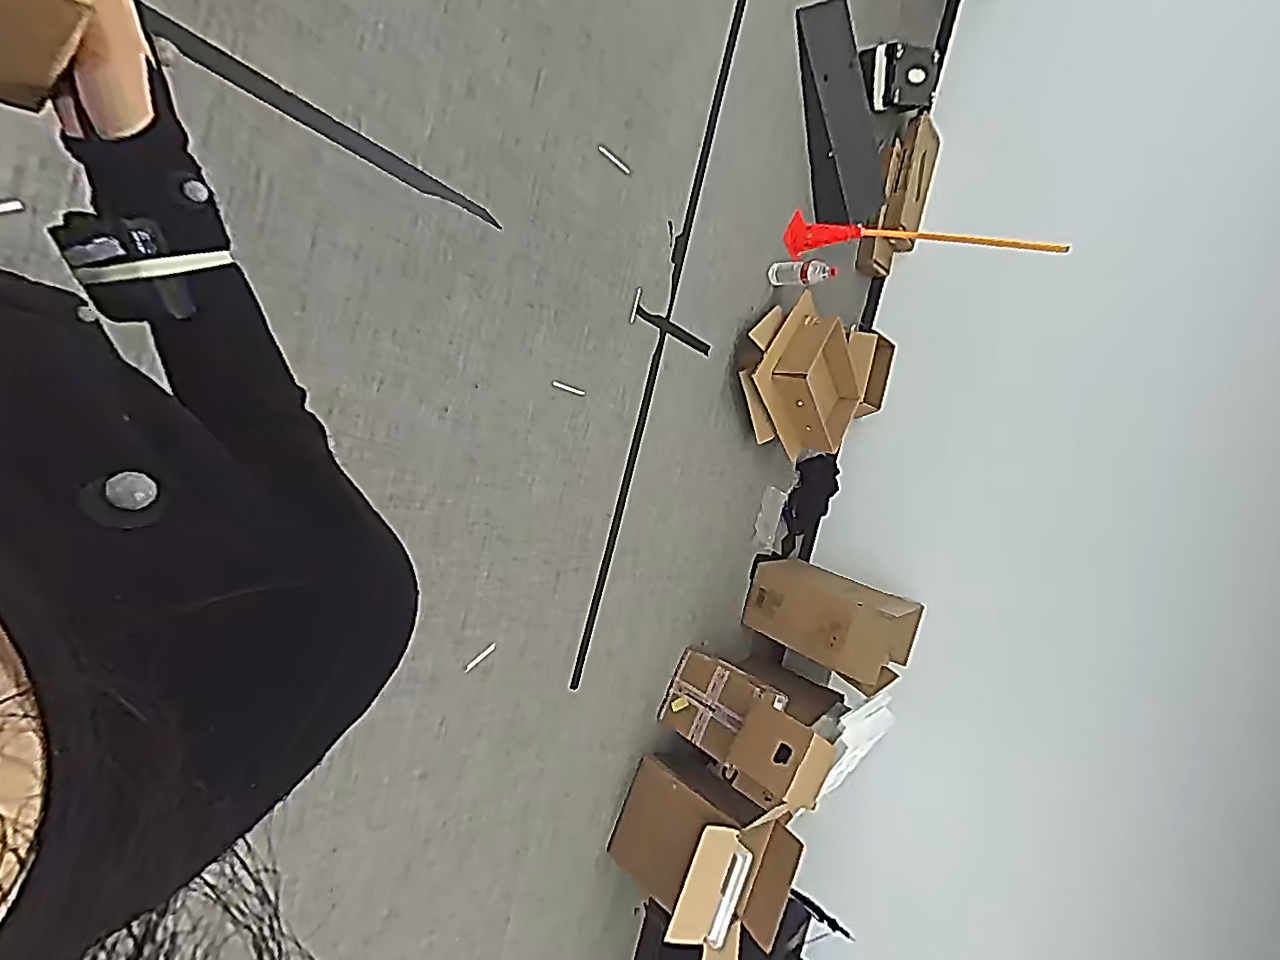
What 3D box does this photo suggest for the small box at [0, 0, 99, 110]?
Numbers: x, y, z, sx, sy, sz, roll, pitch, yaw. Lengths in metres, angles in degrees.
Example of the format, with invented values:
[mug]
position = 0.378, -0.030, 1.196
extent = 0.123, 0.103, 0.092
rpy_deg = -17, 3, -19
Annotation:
[small box]
position = -0.349, -0.290, 0.213
extent = 0.168, 0.176, 0.179
rpy_deg = -10, 103, -53
